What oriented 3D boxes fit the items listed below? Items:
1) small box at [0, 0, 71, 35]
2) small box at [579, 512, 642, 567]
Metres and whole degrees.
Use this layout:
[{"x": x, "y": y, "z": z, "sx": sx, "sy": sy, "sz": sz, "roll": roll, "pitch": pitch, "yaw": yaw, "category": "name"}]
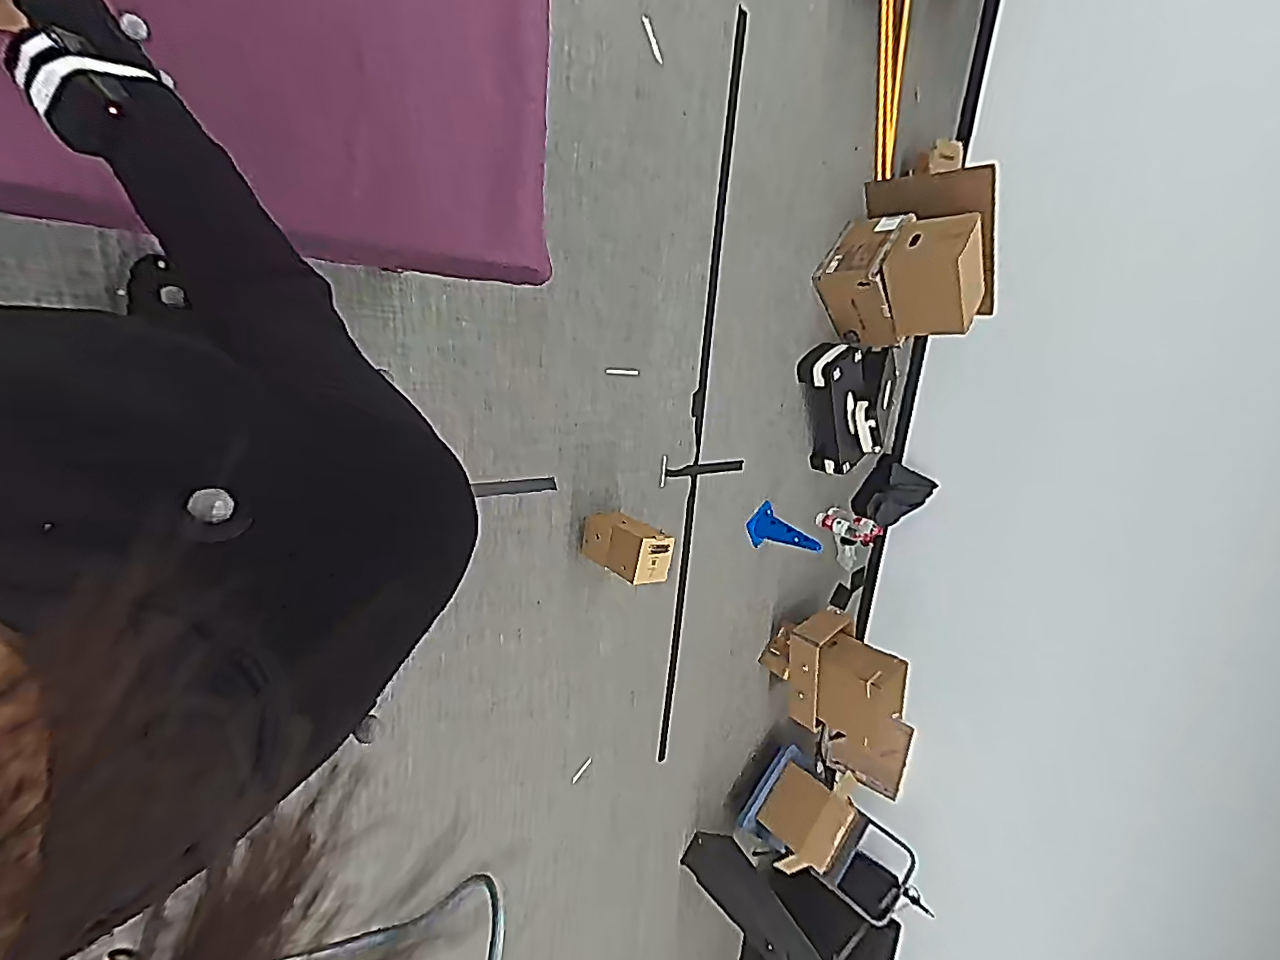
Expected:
[{"x": -0.618, "y": -0.498, "z": 0.436, "sx": 0.179, "sy": 0.176, "sz": 0.168, "roll": -20, "pitch": 117, "yaw": -36, "category": "small box"}, {"x": -0.121, "y": 0.228, "z": 2.125, "sx": 0.179, "sy": 0.176, "sz": 0.168, "roll": -3, "pitch": 106, "yaw": -41, "category": "small box"}]
